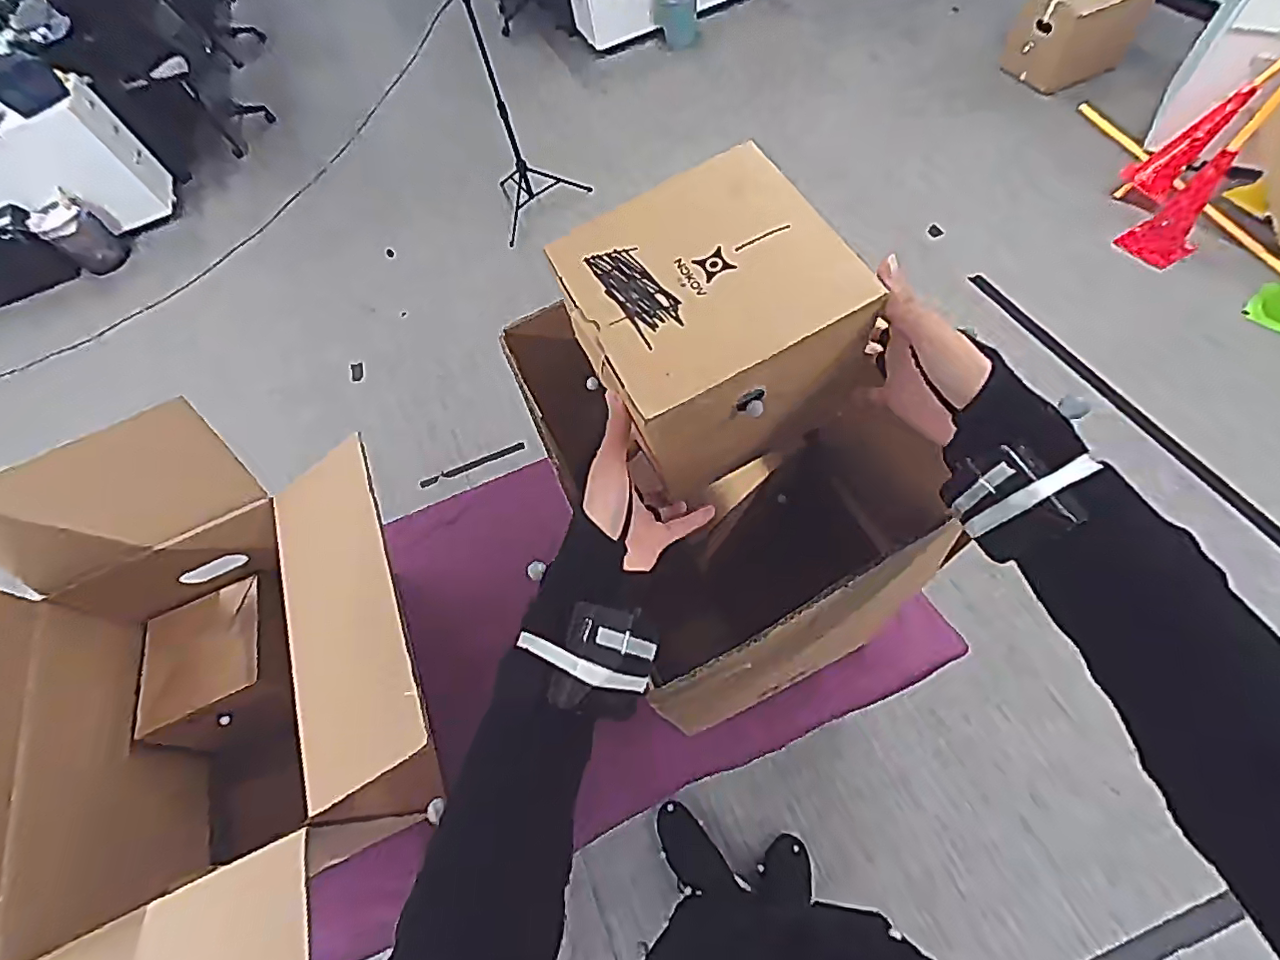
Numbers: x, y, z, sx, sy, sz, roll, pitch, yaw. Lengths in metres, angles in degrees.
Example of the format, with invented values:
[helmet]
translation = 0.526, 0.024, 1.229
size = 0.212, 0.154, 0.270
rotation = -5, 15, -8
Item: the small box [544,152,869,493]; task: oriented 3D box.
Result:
[small box]
translation = 0.051, -0.113, 0.446
size = 0.179, 0.176, 0.168
rotation = -29, 68, -2
